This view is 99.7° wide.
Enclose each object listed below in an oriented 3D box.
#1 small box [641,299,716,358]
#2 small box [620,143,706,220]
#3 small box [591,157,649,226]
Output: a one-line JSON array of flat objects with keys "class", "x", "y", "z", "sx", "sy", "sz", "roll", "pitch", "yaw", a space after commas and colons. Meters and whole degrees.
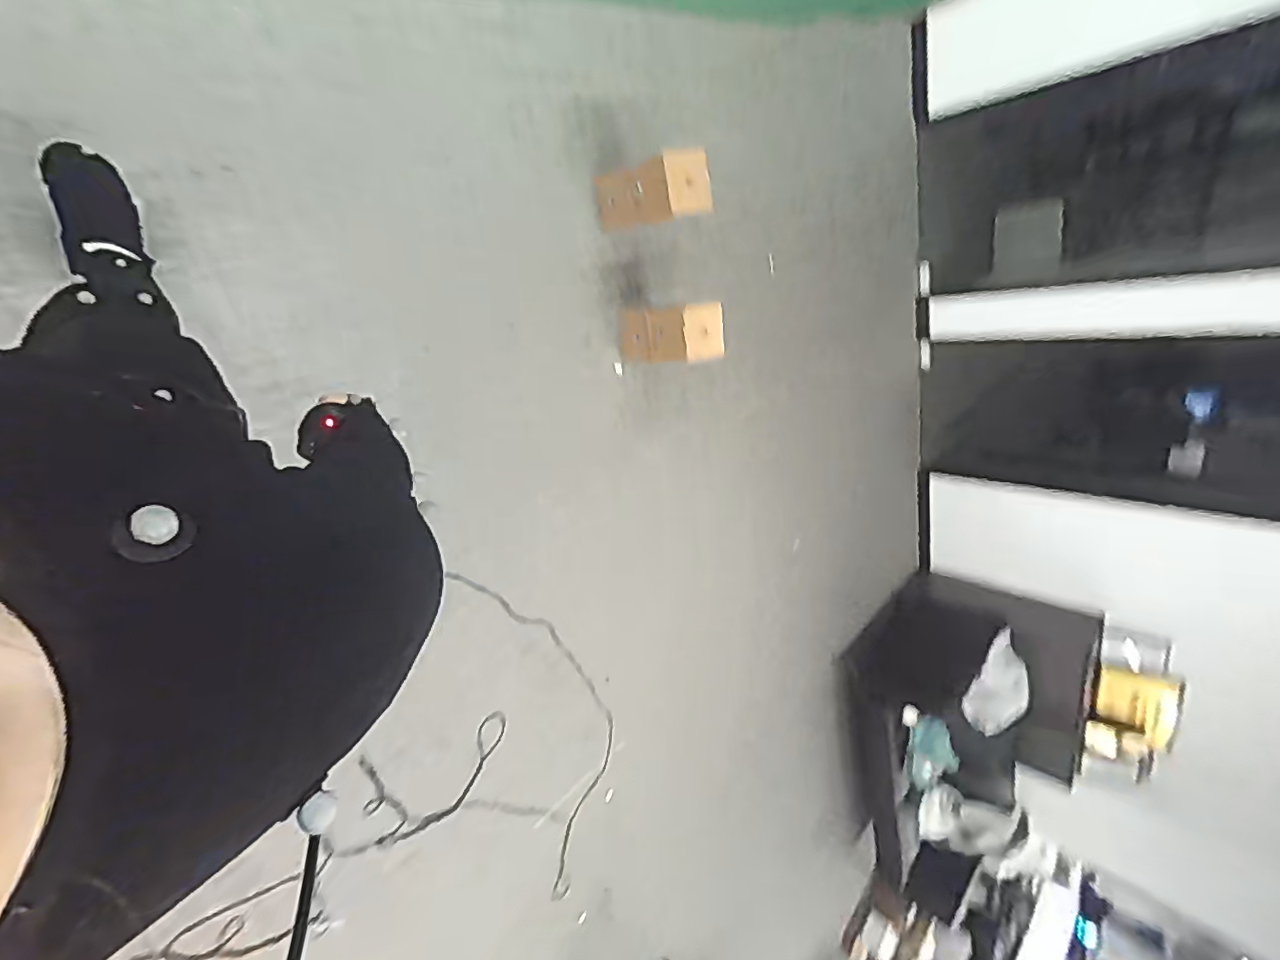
[{"class": "small box", "x": 0.124, "y": -0.495, "z": 1.753, "sx": 0.179, "sy": 0.176, "sz": 0.168, "roll": -21, "pitch": 114, "yaw": -36}, {"class": "small box", "x": 0.068, "y": -0.881, "z": 1.602, "sx": 0.179, "sy": 0.176, "sz": 0.168, "roll": -28, "pitch": 117, "yaw": -33}, {"class": "small box", "x": -0.040, "y": -0.915, "z": 1.719, "sx": 0.179, "sy": 0.176, "sz": 0.168, "roll": -25, "pitch": 117, "yaw": -35}]
